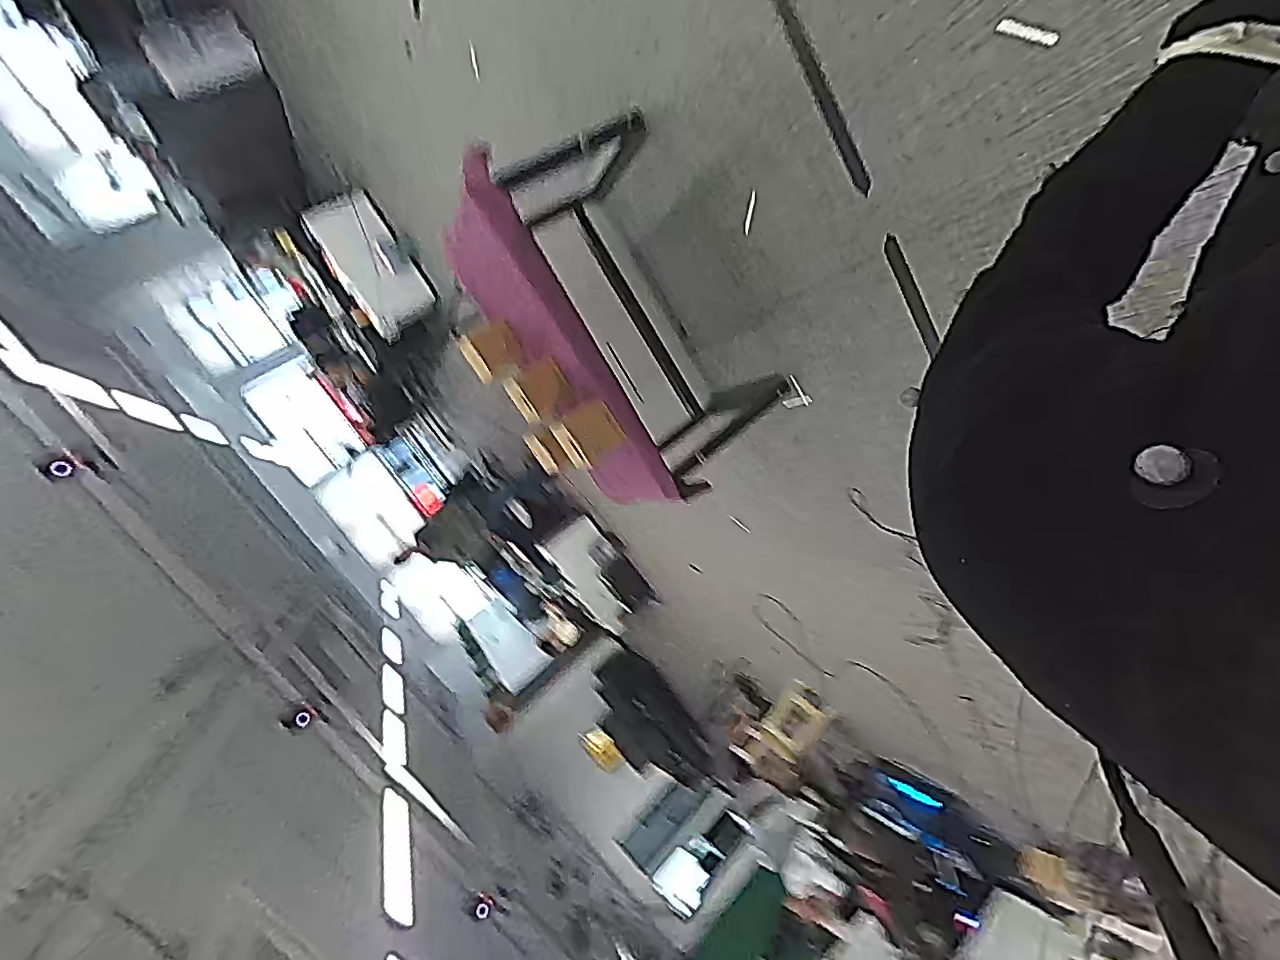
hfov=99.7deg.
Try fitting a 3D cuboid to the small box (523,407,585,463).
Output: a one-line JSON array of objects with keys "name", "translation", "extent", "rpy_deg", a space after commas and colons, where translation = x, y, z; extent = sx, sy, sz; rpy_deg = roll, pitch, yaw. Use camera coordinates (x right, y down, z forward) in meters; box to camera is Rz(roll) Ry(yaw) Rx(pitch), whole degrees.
[{"name": "small box", "translation": [-0.353, -0.186, 2.249], "extent": [0.168, 0.176, 0.179], "rpy_deg": [58, 156, -14]}]

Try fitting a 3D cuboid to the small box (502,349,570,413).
[{"name": "small box", "translation": [-0.383, -0.369, 2.022], "extent": [0.168, 0.176, 0.179], "rpy_deg": [58, 159, -15]}]

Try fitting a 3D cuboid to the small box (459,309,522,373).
[{"name": "small box", "translation": [-0.593, -0.552, 2.150], "extent": [0.168, 0.176, 0.179], "rpy_deg": [56, 158, -14]}]
